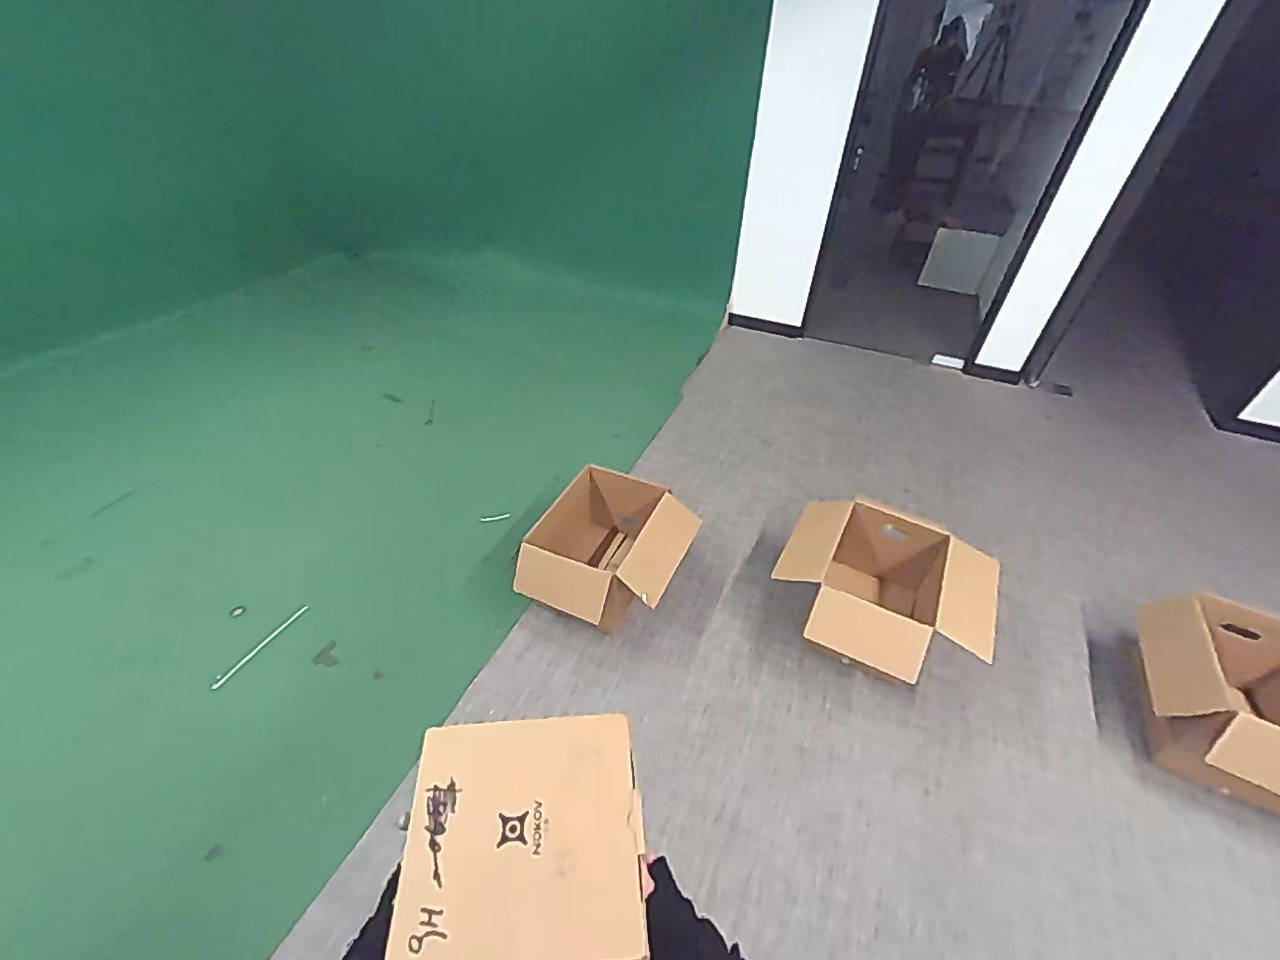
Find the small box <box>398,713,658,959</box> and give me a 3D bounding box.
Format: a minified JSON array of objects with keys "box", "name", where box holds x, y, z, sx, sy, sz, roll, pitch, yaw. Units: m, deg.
[{"box":[-0.088,0.326,0.471,0.179,0.176,0.168,-2,41,-8],"name":"small box"}]
